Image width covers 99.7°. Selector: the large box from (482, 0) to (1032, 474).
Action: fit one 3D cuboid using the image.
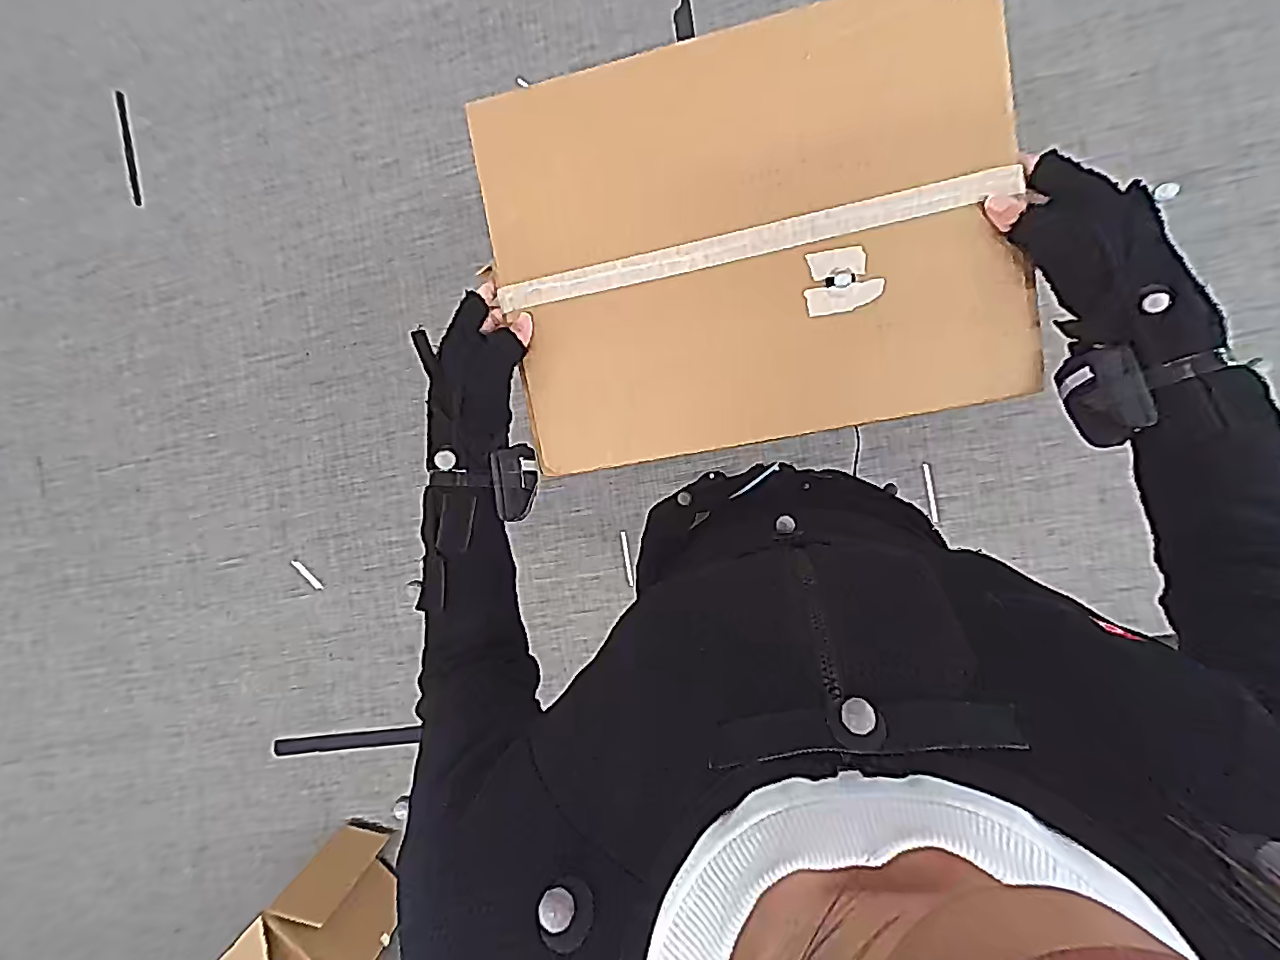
[{"bbox_3d":[0.104,-0.207,0.586,0.408,0.320,0.320,-10,97,8],"label":"large box"}]
